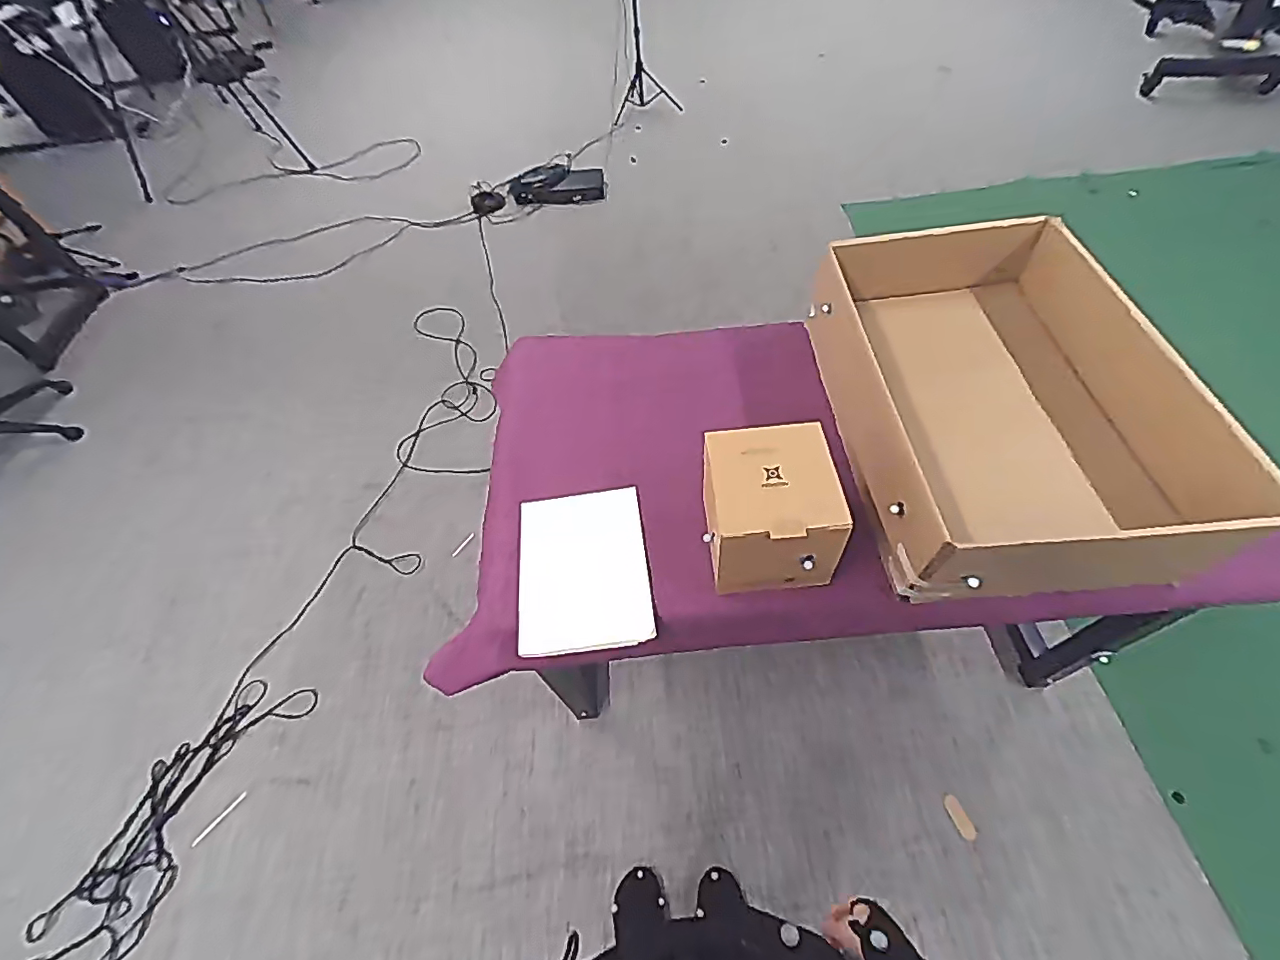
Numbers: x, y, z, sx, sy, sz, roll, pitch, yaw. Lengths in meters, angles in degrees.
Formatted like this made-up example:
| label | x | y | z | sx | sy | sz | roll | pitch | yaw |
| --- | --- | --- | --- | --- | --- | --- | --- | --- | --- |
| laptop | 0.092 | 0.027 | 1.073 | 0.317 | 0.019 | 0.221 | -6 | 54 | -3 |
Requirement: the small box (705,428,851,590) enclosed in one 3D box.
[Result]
| label | x | y | z | sx | sy | sz | roll | pitch | yaw |
| --- | --- | --- | --- | --- | --- | --- | --- | --- | --- |
| small box | 0.185 | 0.049 | 0.778 | 0.168 | 0.176 | 0.179 | -5 | 53 | 3 |
